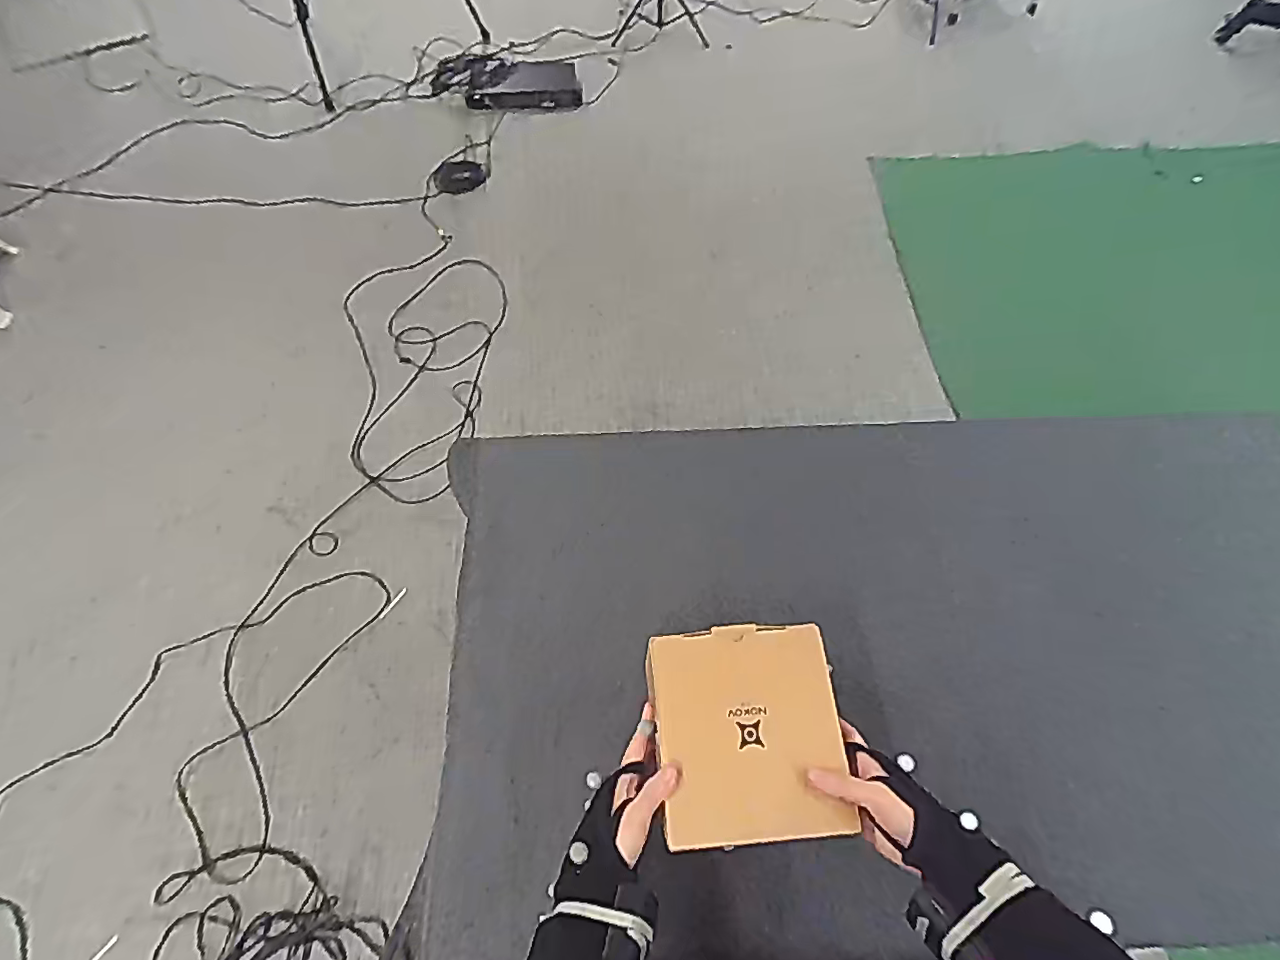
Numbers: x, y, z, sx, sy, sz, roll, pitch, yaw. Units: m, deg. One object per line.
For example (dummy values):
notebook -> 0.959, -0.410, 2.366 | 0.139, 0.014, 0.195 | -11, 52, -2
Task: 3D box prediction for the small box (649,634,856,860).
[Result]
small box -> 0.097, 0.267, 0.560 | 0.168, 0.176, 0.179 | -4, 64, -2
